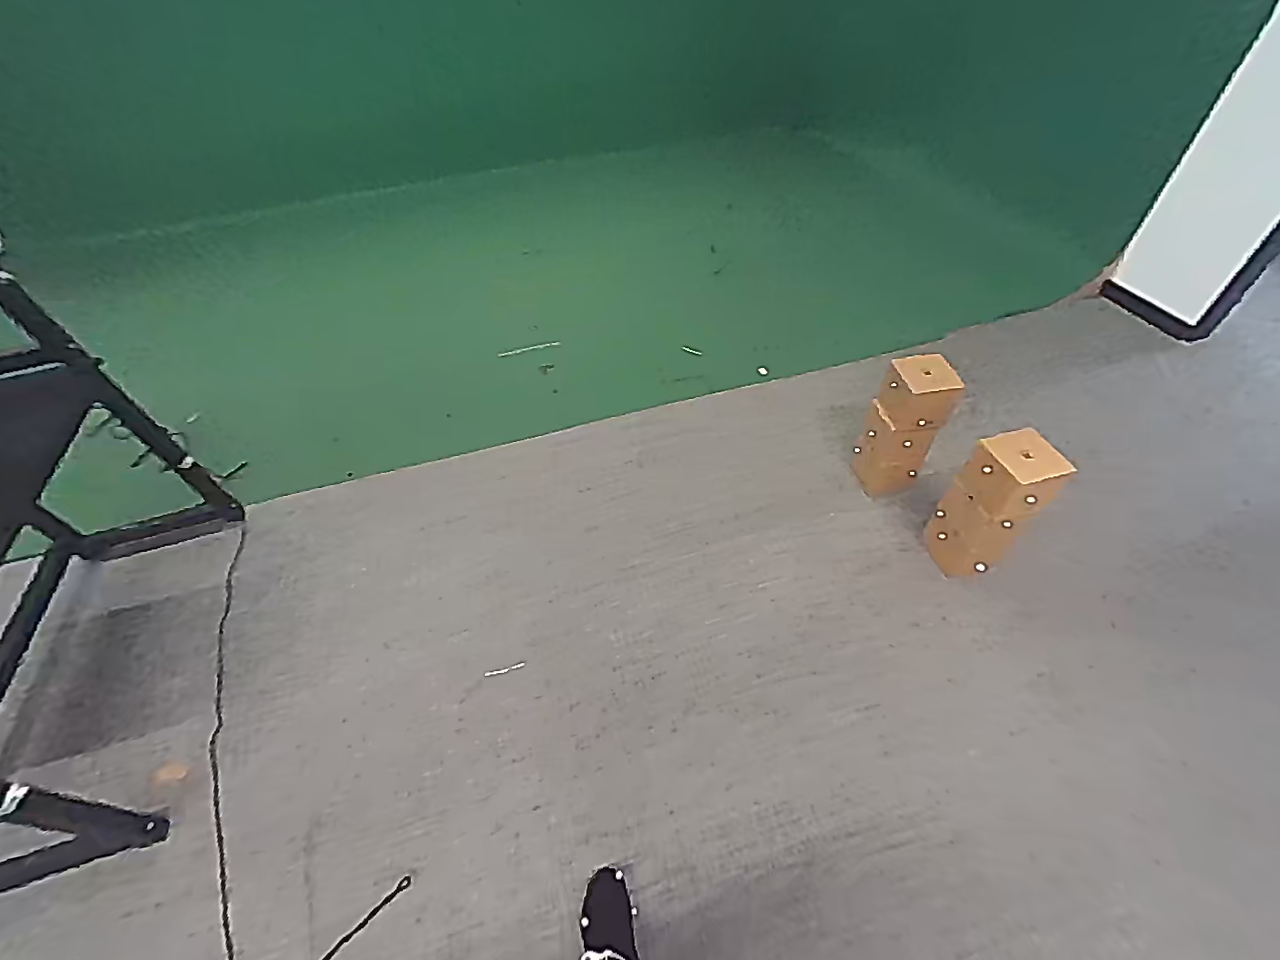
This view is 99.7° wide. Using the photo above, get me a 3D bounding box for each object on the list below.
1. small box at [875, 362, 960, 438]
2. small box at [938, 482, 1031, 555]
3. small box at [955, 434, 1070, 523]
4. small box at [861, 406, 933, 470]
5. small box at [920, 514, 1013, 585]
[{"bbox_3d":[0.896,-0.260,1.767,0.168,0.176,0.179,-7,48,-1],"label":"small box"},{"bbox_3d":[1.040,0.106,1.644,0.179,0.176,0.168,-12,48,-7],"label":"small box"},{"bbox_3d":[1.034,0.003,1.518,0.168,0.176,0.179,-13,48,-7],"label":"small box"},{"bbox_3d":[0.897,-0.155,1.894,0.179,0.176,0.168,-10,50,-3],"label":"small box"},{"bbox_3d":[1.054,0.212,1.767,0.168,0.176,0.179,-14,48,-7],"label":"small box"}]
